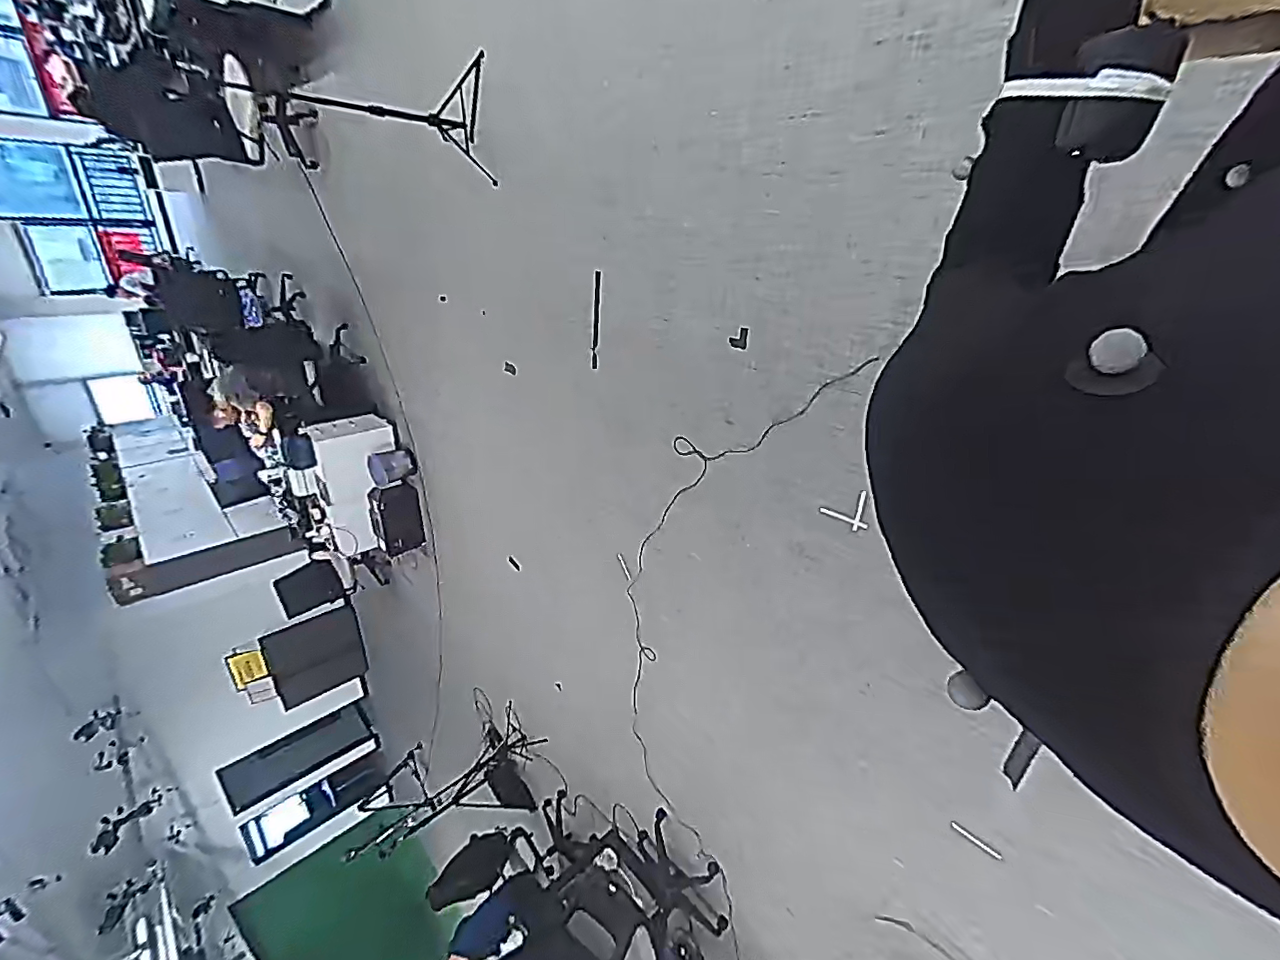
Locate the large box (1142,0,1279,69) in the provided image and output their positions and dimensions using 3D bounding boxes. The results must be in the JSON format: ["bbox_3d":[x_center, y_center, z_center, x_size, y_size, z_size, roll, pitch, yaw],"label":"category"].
[{"bbox_3d":[0.538,-0.412,0.232,0.408,0.320,0.320,21,130,38],"label":"large box"}]
